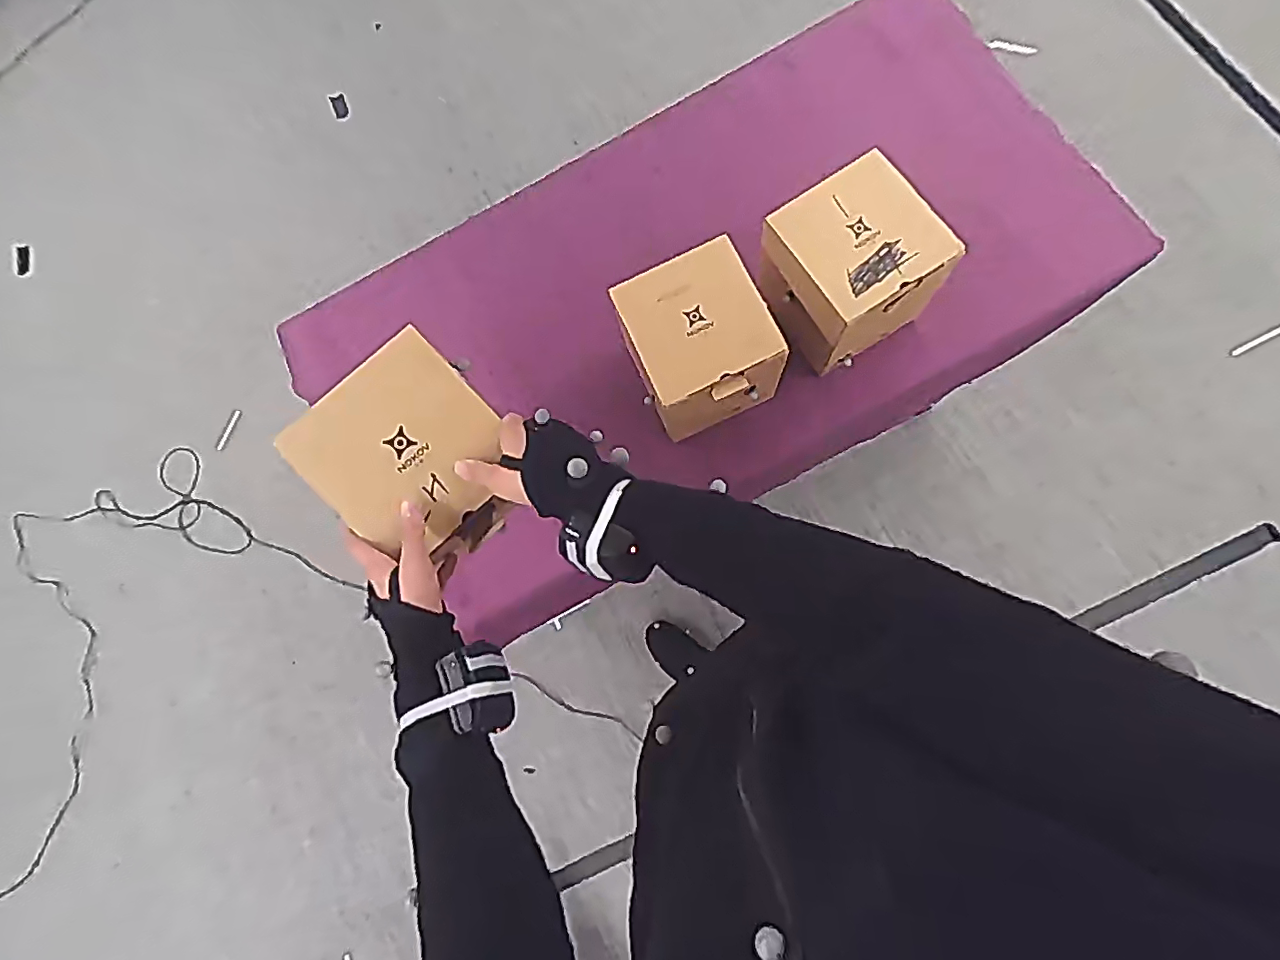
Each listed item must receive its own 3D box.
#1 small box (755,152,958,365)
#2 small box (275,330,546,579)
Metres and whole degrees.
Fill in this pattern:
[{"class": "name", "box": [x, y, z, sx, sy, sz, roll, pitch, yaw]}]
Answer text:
[{"class": "small box", "box": [0.271, -0.278, 0.725, 0.168, 0.176, 0.179, -32, 76, 1]}, {"class": "small box", "box": [-0.220, -0.018, 0.571, 0.168, 0.176, 0.179, -44, 90, -6]}]
